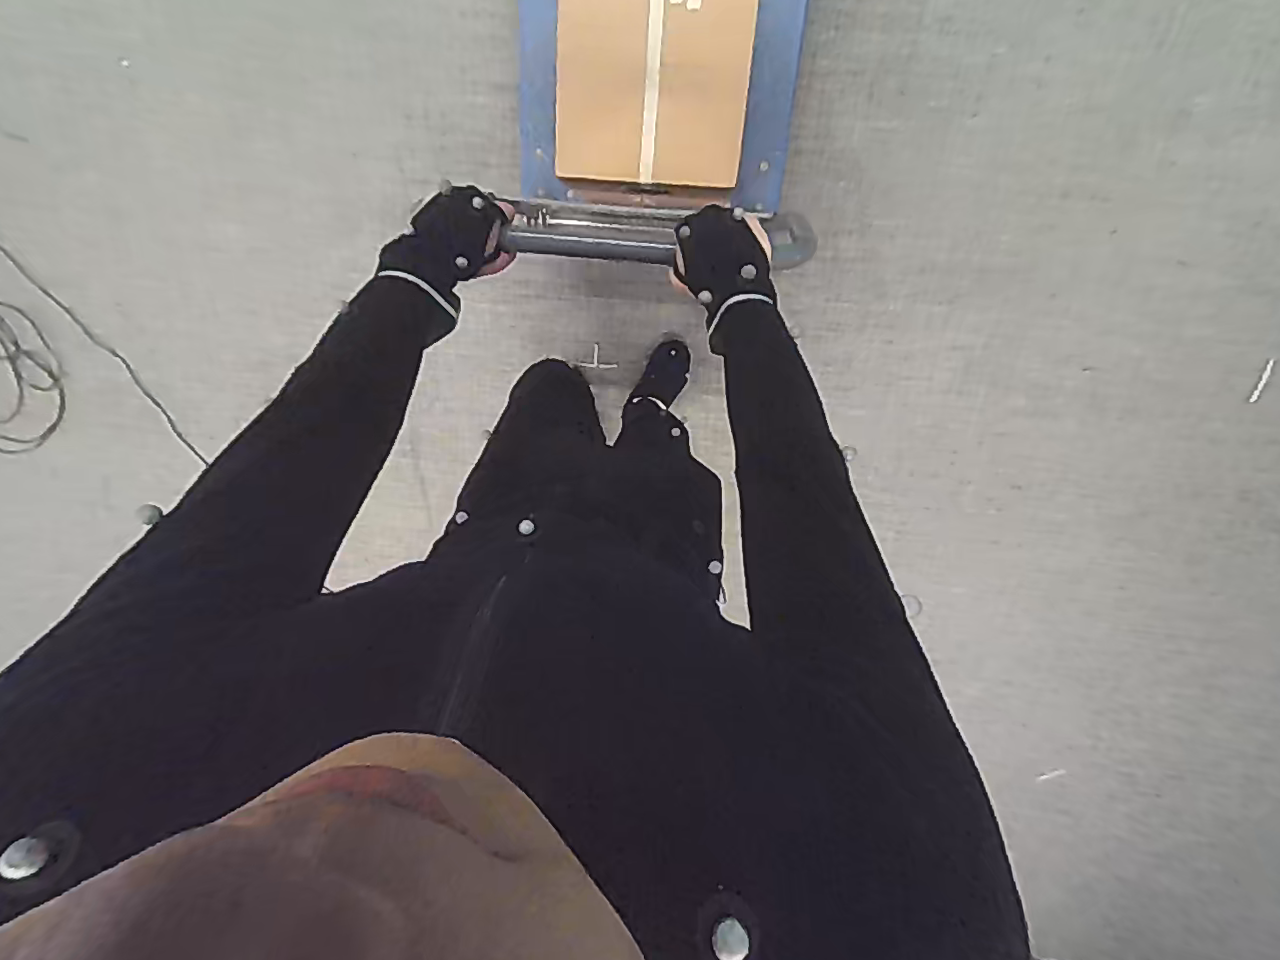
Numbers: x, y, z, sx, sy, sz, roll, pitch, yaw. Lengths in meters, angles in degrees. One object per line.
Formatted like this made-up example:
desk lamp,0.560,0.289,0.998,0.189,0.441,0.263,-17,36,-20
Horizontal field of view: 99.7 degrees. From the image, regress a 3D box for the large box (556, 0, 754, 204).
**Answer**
large box,0.033,-0.754,0.997,0.320,0.320,0.408,5,111,3
